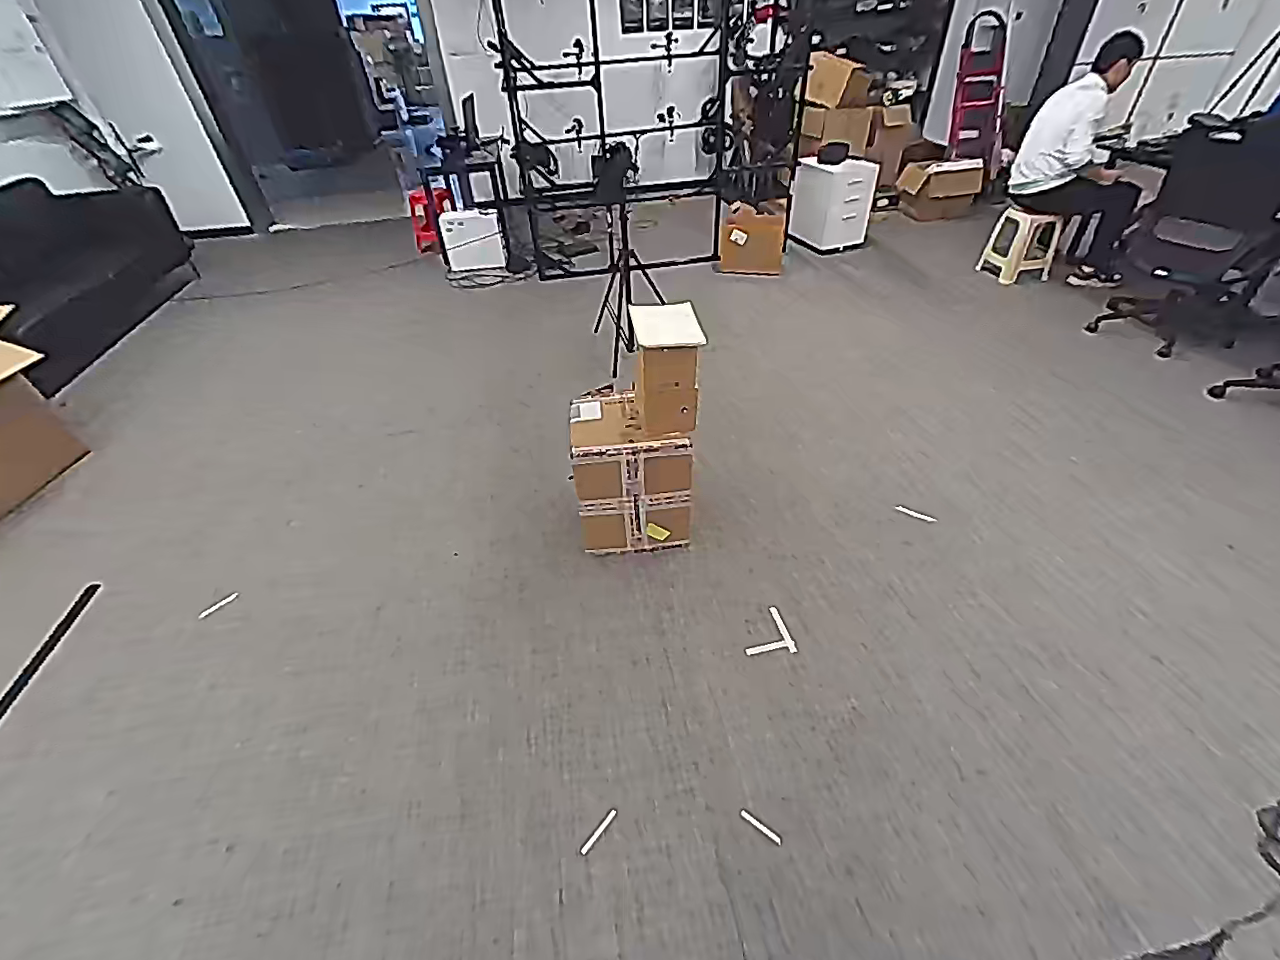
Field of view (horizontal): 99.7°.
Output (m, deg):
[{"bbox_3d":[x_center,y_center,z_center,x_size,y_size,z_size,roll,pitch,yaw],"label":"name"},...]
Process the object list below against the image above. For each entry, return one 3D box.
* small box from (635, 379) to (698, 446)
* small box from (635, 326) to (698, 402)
[{"bbox_3d":[0.082,-0.230,1.773,0.179,0.176,0.168,-9,41,-8],"label":"small box"},{"bbox_3d":[0.076,-0.359,1.673,0.168,0.176,0.179,-7,41,-7],"label":"small box"}]
